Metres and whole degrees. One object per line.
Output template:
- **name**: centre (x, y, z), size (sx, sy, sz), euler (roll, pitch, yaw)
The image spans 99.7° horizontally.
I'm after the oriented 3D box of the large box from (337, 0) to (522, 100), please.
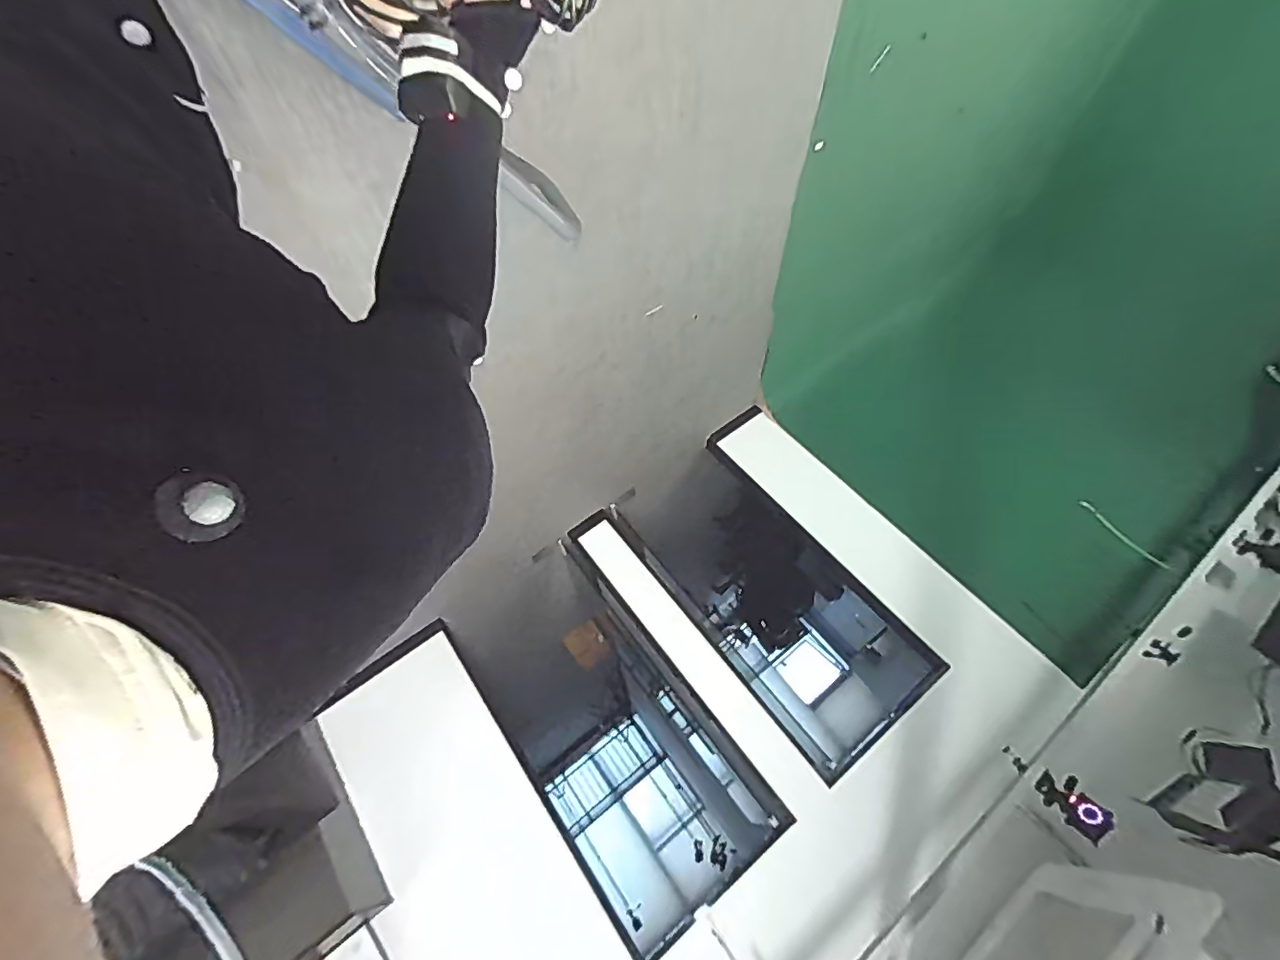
- **large box**: centre (-0.367, -0.948, 0.866), size (0.408, 0.320, 0.320), euler (-50, 155, 14)
